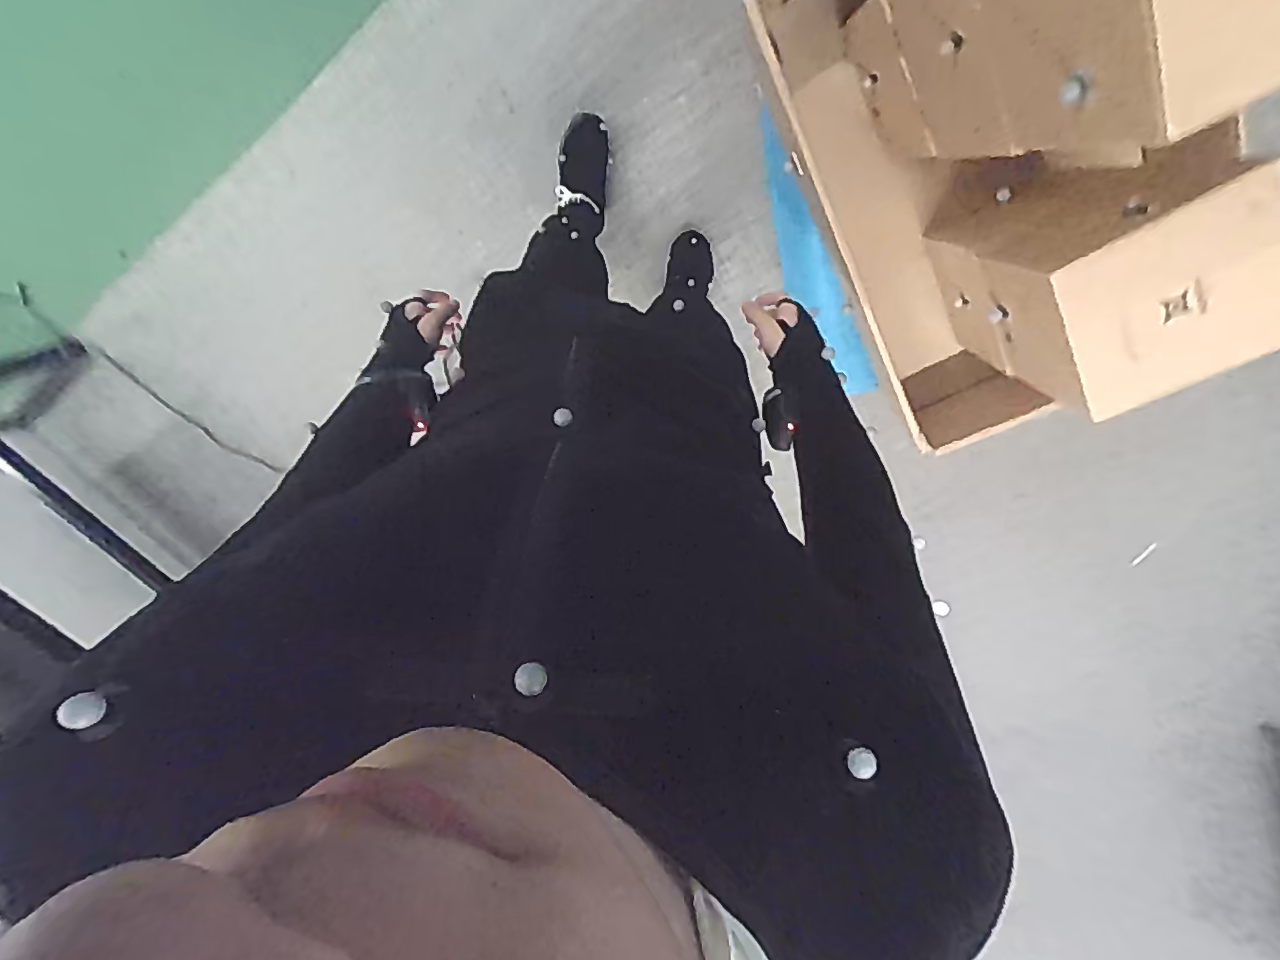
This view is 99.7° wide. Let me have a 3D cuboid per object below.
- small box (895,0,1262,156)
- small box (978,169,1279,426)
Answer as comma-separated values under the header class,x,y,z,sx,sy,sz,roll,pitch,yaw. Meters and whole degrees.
class,x,y,z,sx,sy,sz,roll,pitch,yaw
small box,0.338,-0.398,0.449,0.168,0.176,0.179,-26,114,20
small box,0.488,-0.188,0.548,0.179,0.176,0.168,-26,111,19
